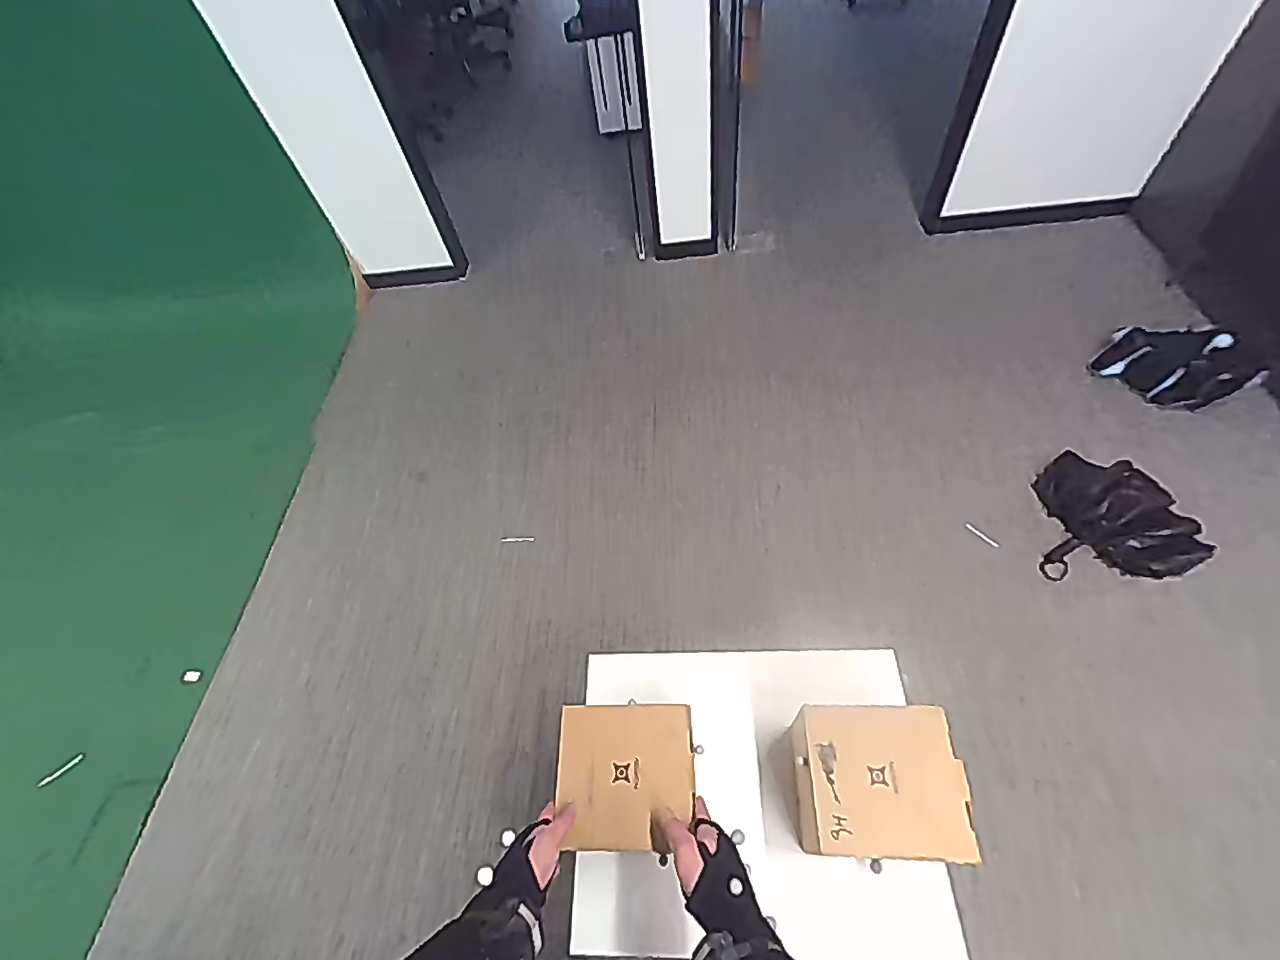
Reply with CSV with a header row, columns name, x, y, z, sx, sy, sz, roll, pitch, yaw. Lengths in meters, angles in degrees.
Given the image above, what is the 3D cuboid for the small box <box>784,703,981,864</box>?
name,x,y,z,sx,sy,sz,roll,pitch,yaw
small box,0.299,0.400,0.712,0.179,0.176,0.168,-1,55,4

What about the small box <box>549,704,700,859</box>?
name,x,y,z,sx,sy,sz,roll,pitch,yaw
small box,-0.015,0.409,0.730,0.179,0.176,0.168,-3,54,2
